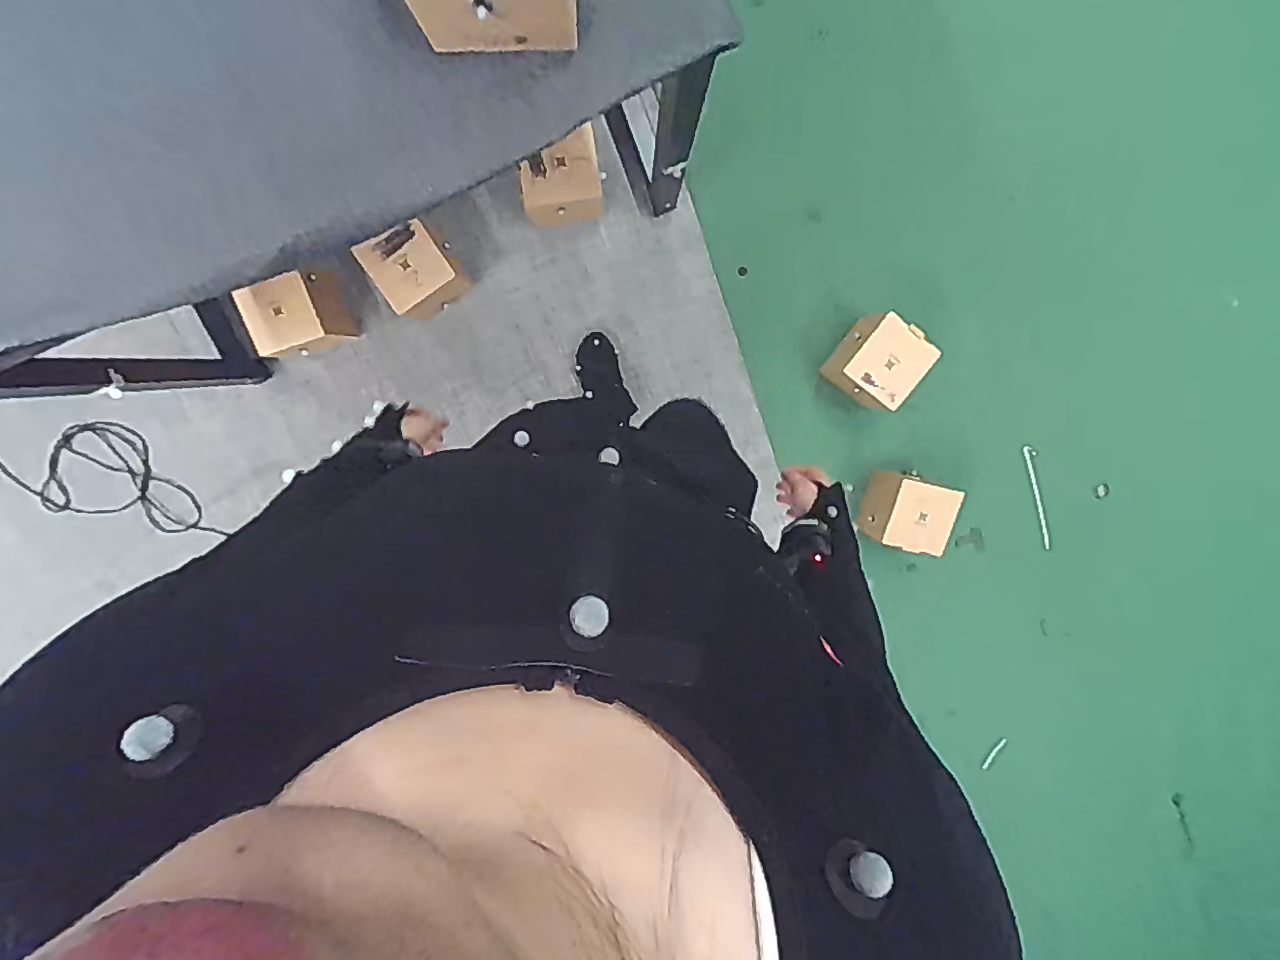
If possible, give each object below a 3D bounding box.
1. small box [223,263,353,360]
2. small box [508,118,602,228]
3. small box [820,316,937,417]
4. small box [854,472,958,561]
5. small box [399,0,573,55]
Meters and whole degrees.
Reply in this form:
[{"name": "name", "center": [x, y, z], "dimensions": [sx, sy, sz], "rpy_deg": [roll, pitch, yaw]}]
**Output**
[{"name": "small box", "center": [-0.826, -0.396, 1.290], "dimensions": [0.168, 0.176, 0.179], "rpy_deg": [-17, 102, 3]}, {"name": "small box", "center": [-0.187, -0.692, 1.239], "dimensions": [0.179, 0.176, 0.168], "rpy_deg": [-9, 102, -1]}, {"name": "small box", "center": [0.582, -0.281, 1.348], "dimensions": [0.168, 0.176, 0.179], "rpy_deg": [36, 98, -8]}, {"name": "small box", "center": [0.691, 0.091, 1.430], "dimensions": [0.168, 0.176, 0.179], "rpy_deg": [12, 101, -5]}, {"name": "small box", "center": [-0.156, -0.551, 0.522], "dimensions": [0.168, 0.176, 0.179], "rpy_deg": [-1, 100, -1]}]
